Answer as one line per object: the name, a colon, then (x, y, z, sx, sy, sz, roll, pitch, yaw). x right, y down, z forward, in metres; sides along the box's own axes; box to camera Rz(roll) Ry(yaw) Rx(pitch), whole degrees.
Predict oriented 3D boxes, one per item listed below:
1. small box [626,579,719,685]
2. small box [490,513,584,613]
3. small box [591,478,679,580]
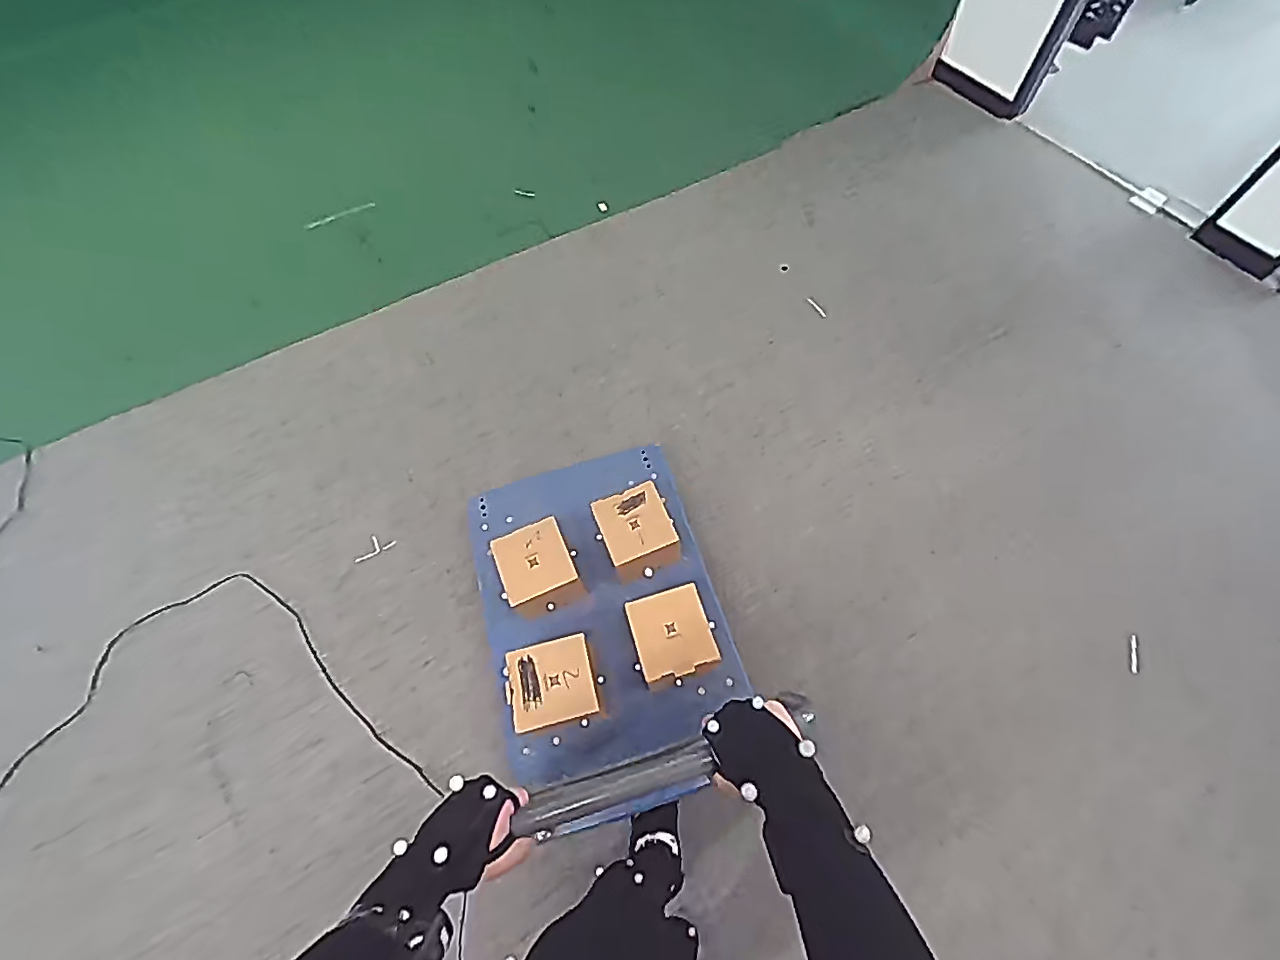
small box: (0.069, 0.354, 1.248, 0.168, 0.176, 0.179, -16, 64, -6)
small box: (-0.249, 0.214, 1.333, 0.168, 0.176, 0.179, -22, 64, -9)
small box: (-0.012, 0.128, 1.367, 0.168, 0.176, 0.179, -21, 64, -7)
